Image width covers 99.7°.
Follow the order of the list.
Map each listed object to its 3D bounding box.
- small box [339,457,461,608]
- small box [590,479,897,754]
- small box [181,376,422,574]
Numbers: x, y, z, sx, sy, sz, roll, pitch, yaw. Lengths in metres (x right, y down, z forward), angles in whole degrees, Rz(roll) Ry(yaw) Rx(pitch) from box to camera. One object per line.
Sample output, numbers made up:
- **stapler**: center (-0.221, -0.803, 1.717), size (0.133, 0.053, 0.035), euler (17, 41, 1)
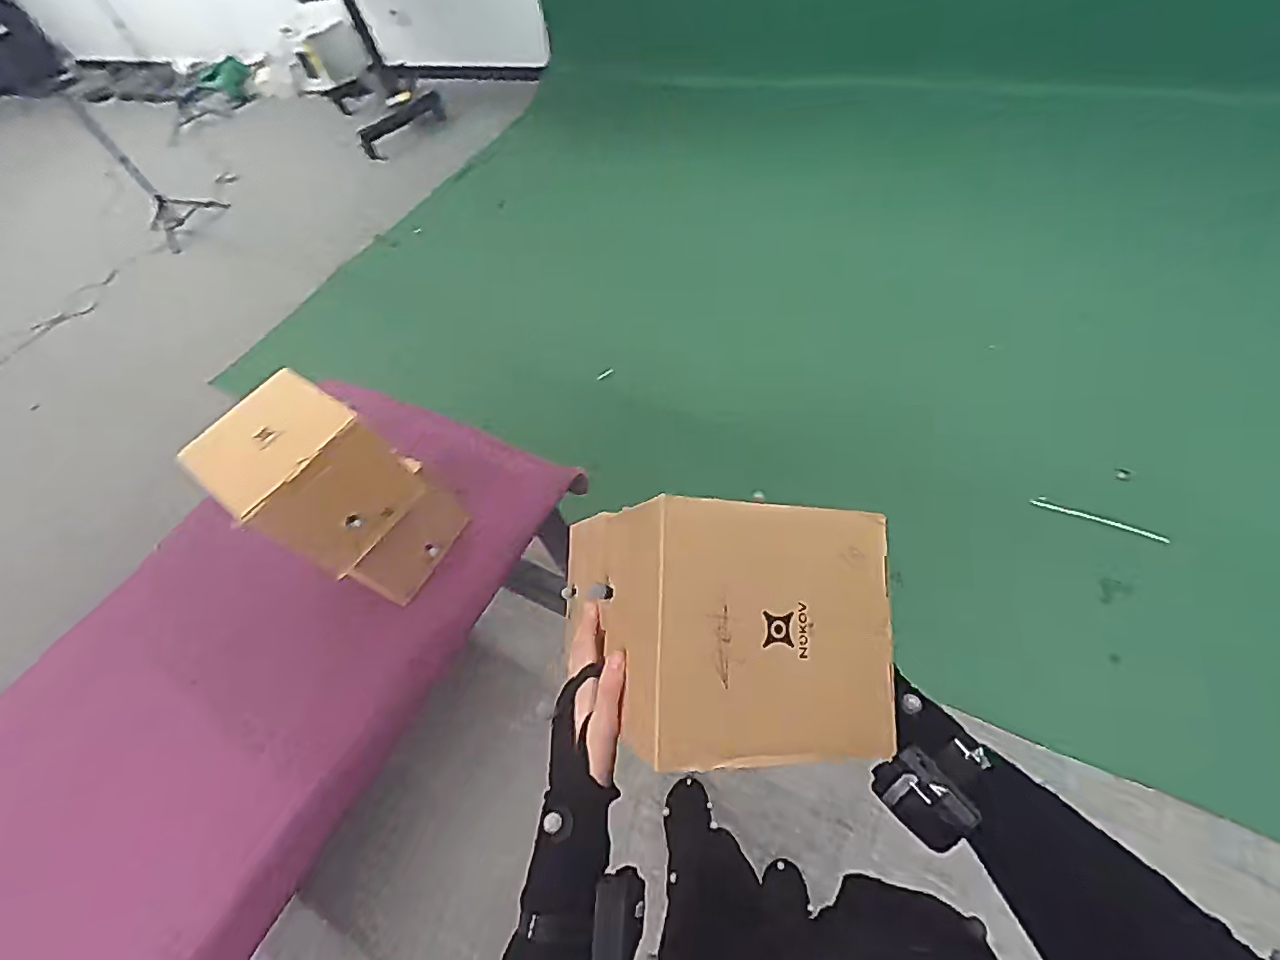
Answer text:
- **small box**: center (-0.415, 0.073, 0.862), size (0.168, 0.176, 0.179), euler (18, 61, 25)
- **small box**: center (0.069, 0.103, 0.425), size (0.179, 0.176, 0.168), euler (7, 77, -16)
- **small box**: center (-0.434, -0.002, 0.716), size (0.179, 0.176, 0.168), euler (27, 66, 26)
